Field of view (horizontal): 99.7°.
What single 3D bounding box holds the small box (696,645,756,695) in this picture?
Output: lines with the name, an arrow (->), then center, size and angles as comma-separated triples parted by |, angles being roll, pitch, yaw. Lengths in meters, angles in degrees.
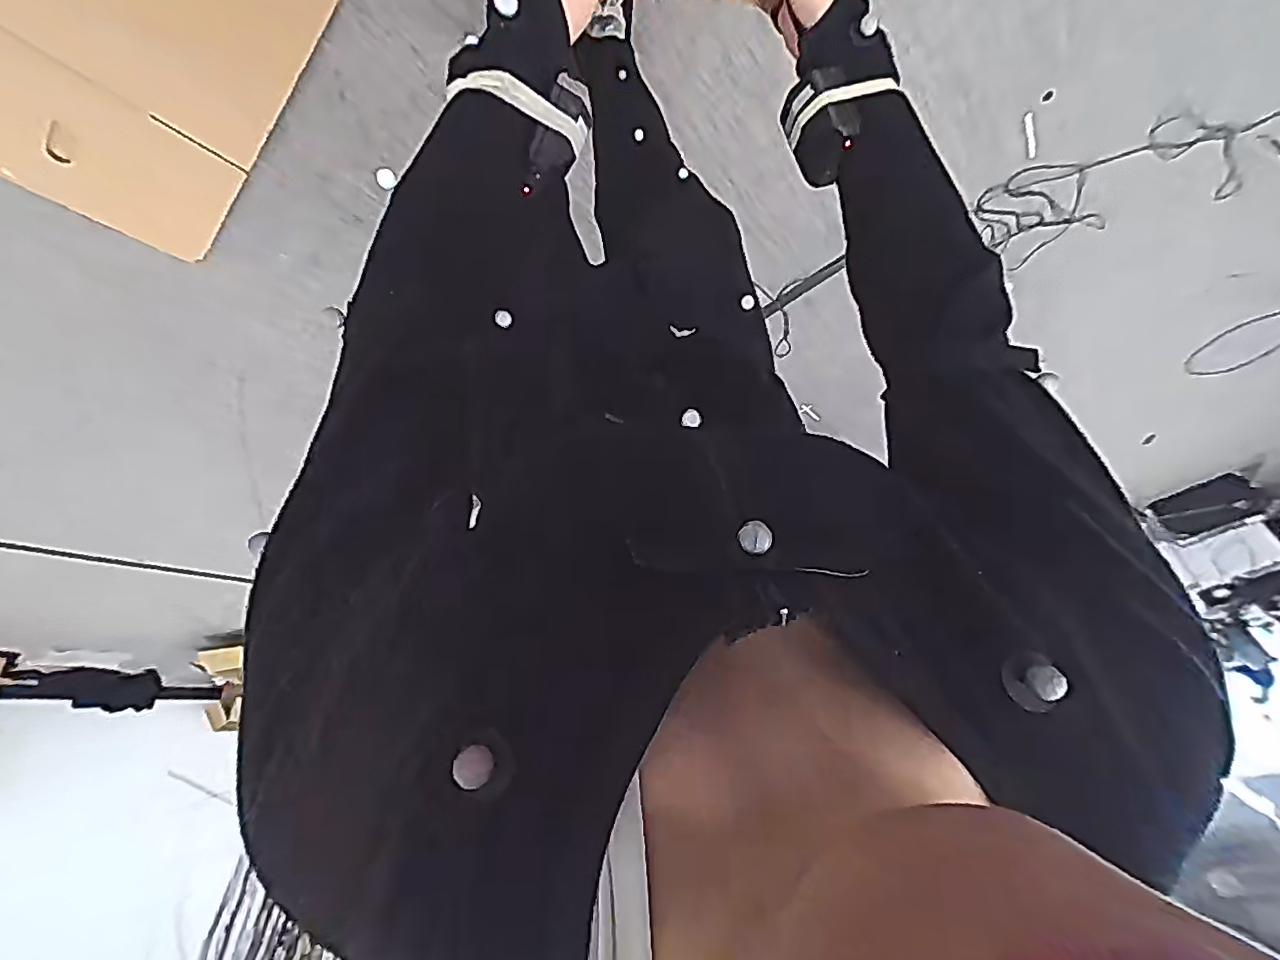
small box -> 0.364, 0.812, 2.307 | 0.179, 0.176, 0.168 | -28, 145, 27
